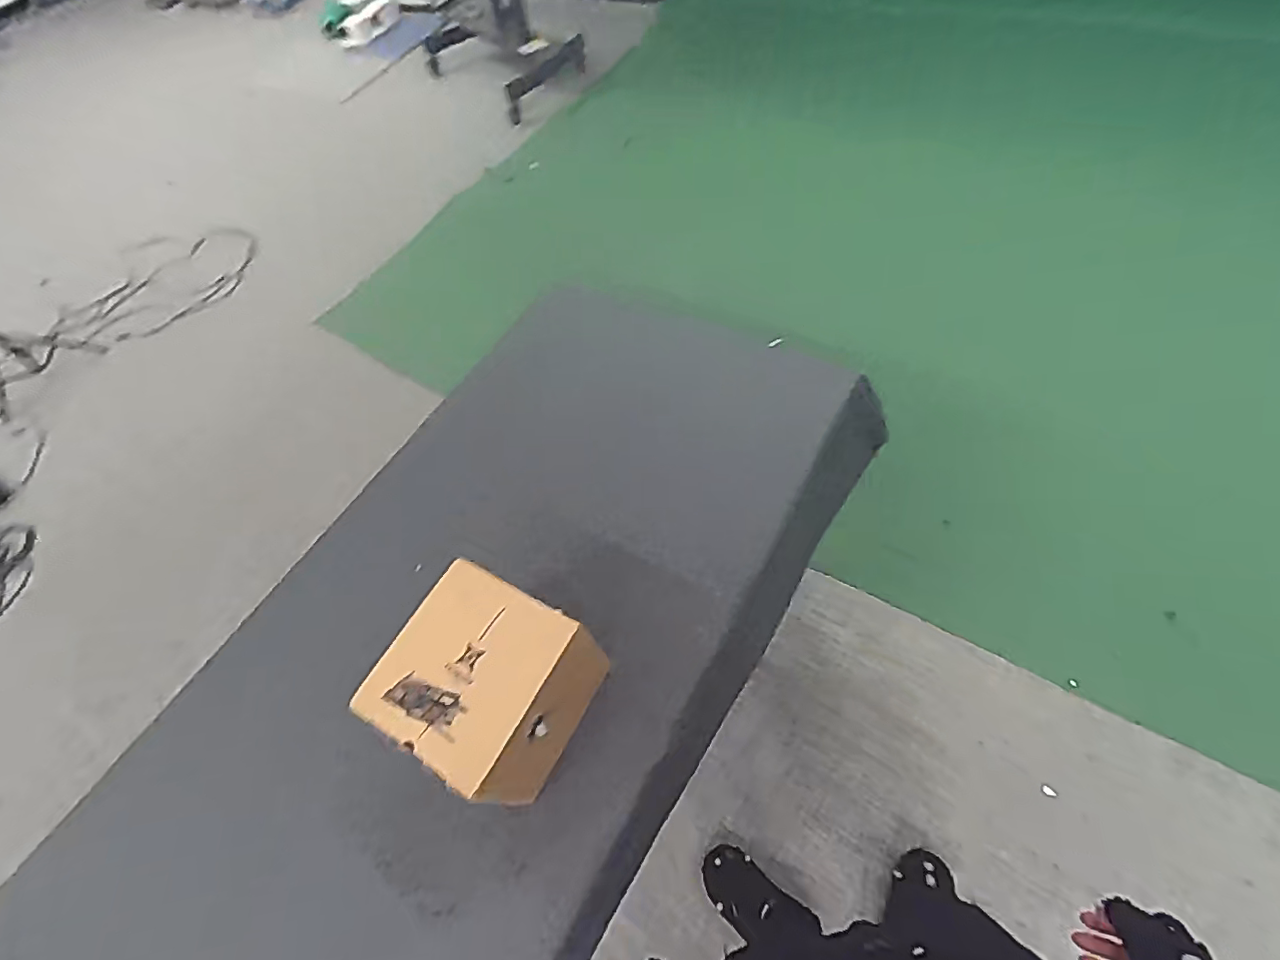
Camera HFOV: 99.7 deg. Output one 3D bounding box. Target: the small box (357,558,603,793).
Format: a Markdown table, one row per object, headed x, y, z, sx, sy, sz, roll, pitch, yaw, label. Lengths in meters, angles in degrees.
| x | y | z | sx | sy | sz | roll | pitch | yaw | label |
| --- | --- | --- | --- | --- | --- | --- | --- | --- | --- |
| -0.160 | 0.224 | 0.607 | 0.168 | 0.176 | 0.179 | 23 | 64 | 22 | small box |
